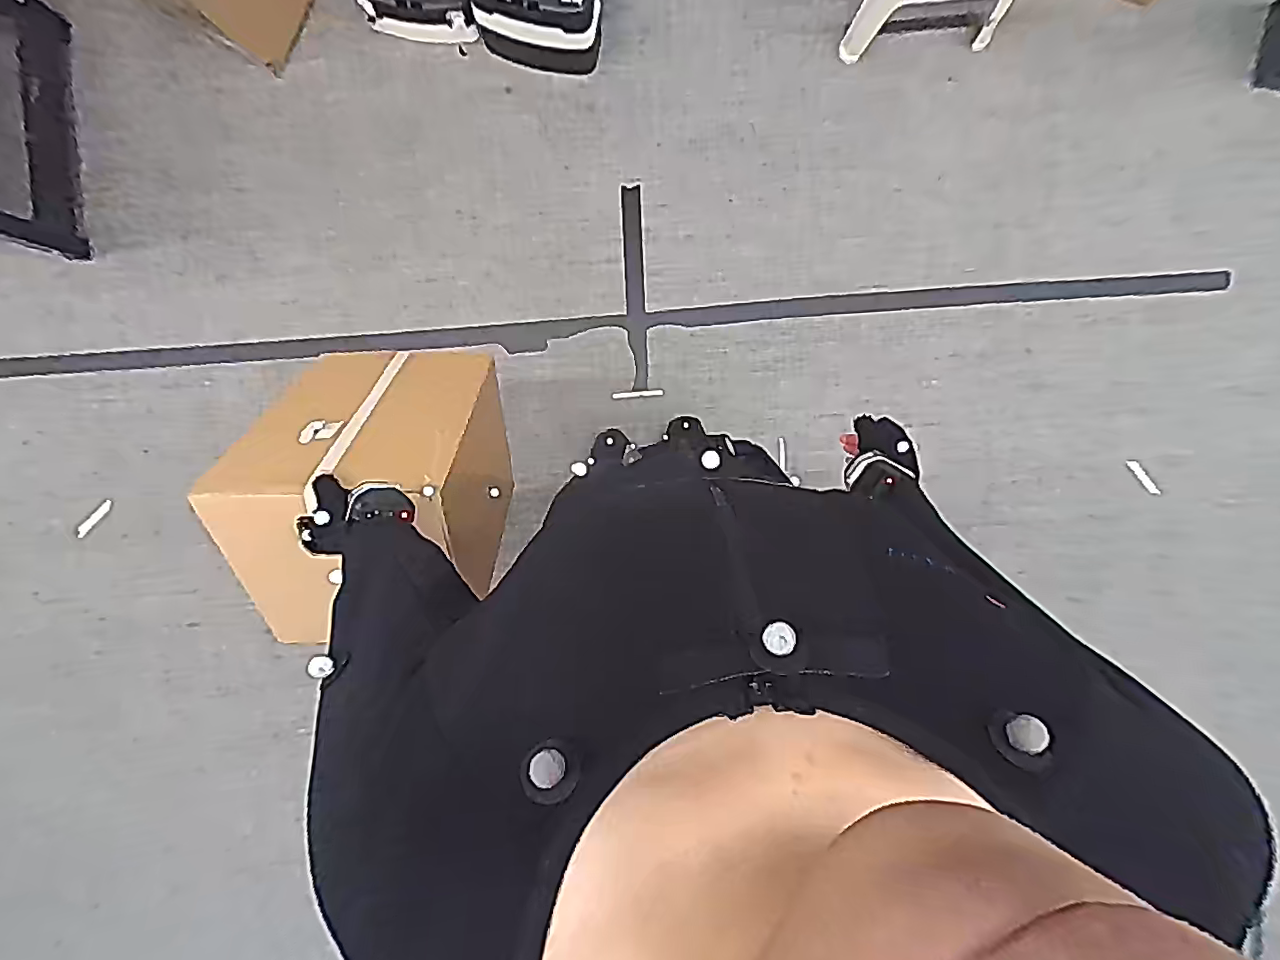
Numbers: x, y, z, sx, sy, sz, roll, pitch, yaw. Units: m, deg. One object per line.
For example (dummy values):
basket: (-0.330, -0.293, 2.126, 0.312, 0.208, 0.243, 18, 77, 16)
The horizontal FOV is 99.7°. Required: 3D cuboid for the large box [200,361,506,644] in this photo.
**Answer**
large box: (-0.425, 0.023, 0.937, 0.320, 0.408, 0.320, -1, 128, -3)
